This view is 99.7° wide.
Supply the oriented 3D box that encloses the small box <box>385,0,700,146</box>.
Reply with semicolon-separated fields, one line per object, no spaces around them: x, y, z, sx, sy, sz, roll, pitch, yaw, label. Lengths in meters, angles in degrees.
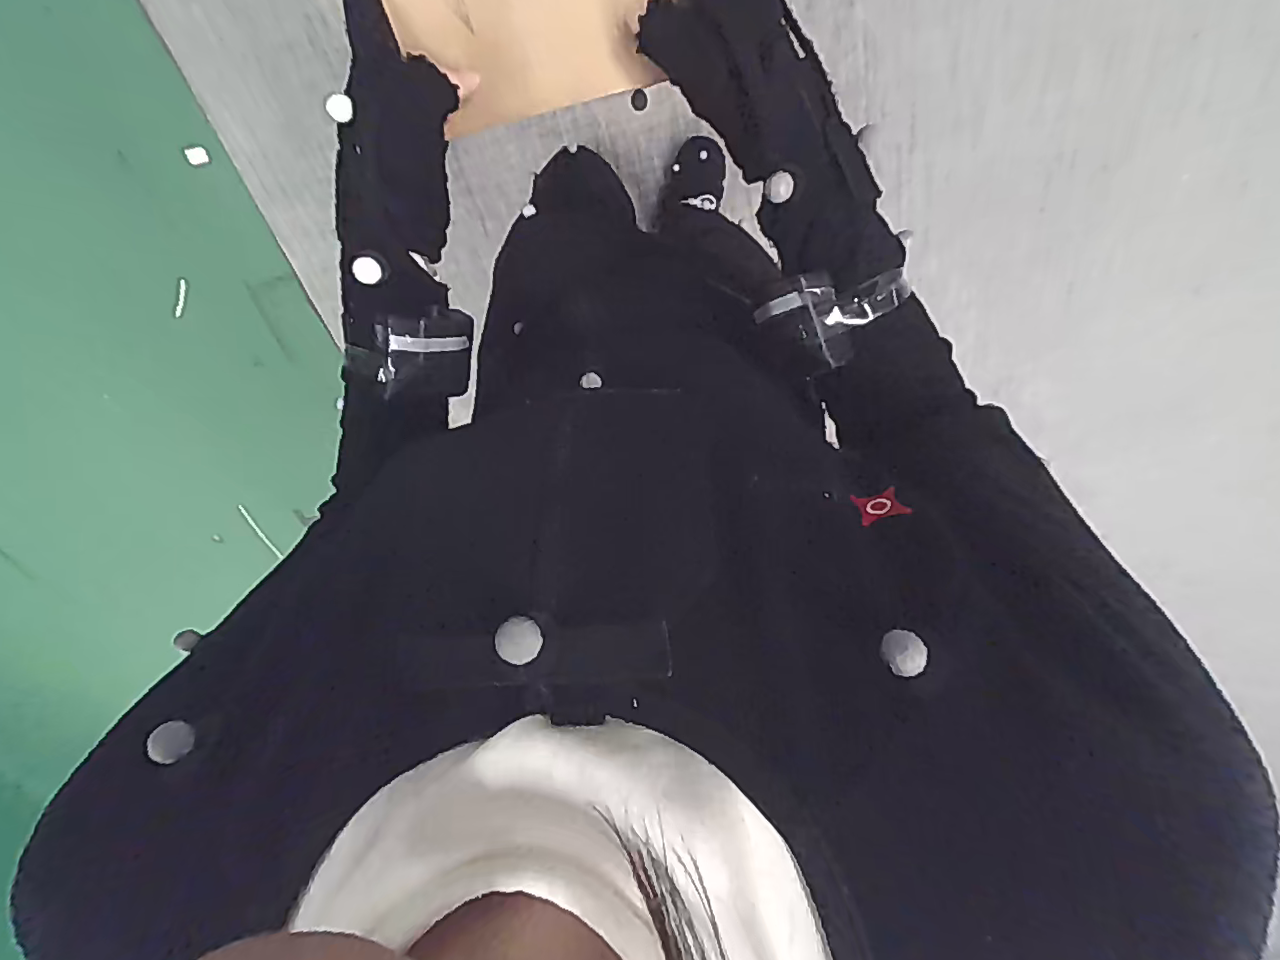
-0.062;-0.346;0.357;0.179;0.176;0.168;-9;127;11;small box
